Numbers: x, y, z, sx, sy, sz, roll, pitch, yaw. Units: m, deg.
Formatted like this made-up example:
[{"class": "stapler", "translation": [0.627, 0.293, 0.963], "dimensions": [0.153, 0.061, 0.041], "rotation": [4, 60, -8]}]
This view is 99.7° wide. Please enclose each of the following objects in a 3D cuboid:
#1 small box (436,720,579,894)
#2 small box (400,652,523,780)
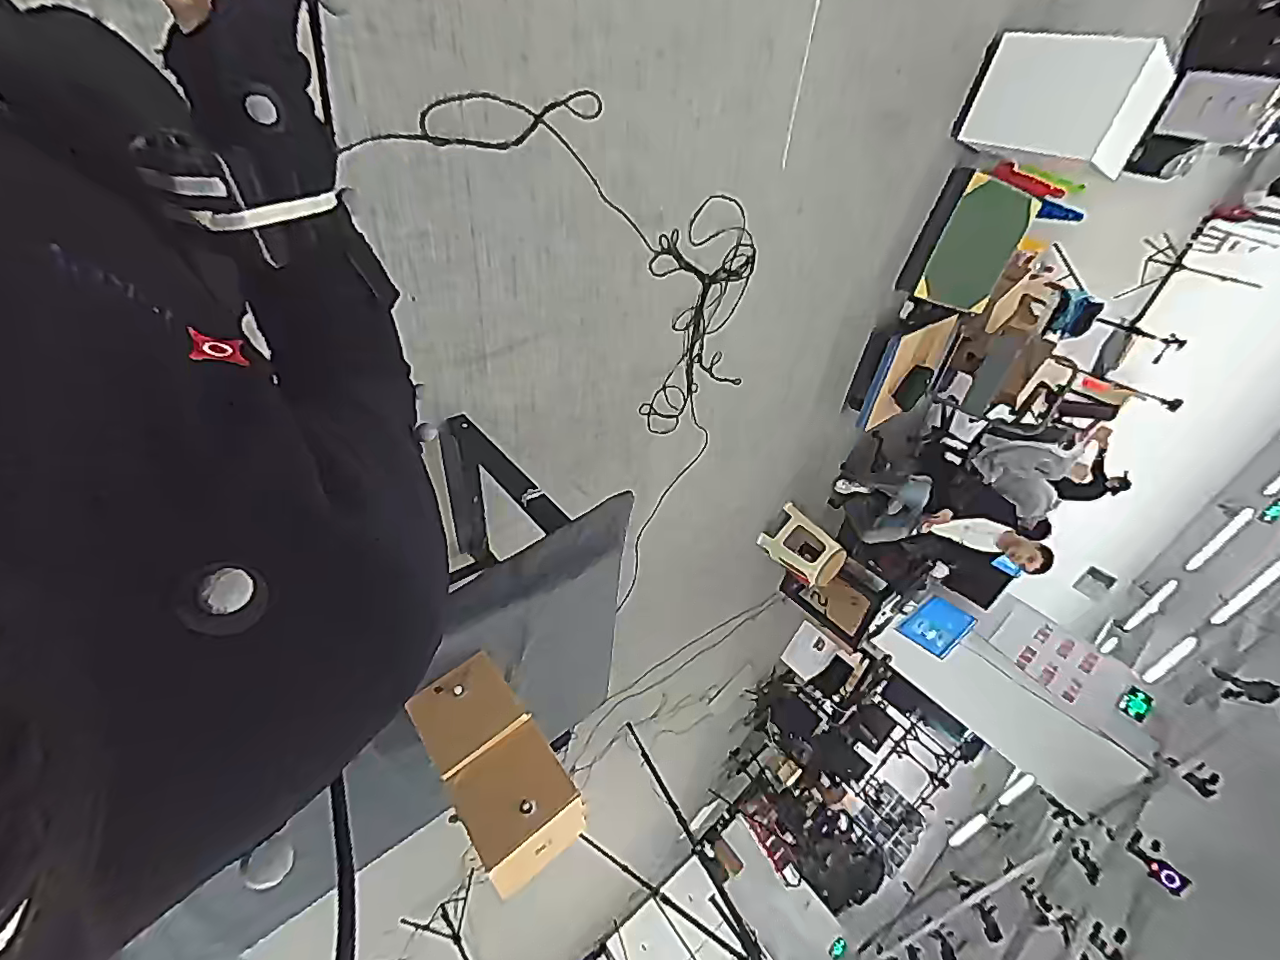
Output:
[{"class": "small box", "translation": [-0.228, 0.563, 0.949], "dimensions": [0.179, 0.176, 0.168], "rotation": [-27, 138, -28]}, {"class": "small box", "translation": [-0.327, 0.464, 1.032], "dimensions": [0.168, 0.176, 0.179], "rotation": [-31, 141, -26]}]
